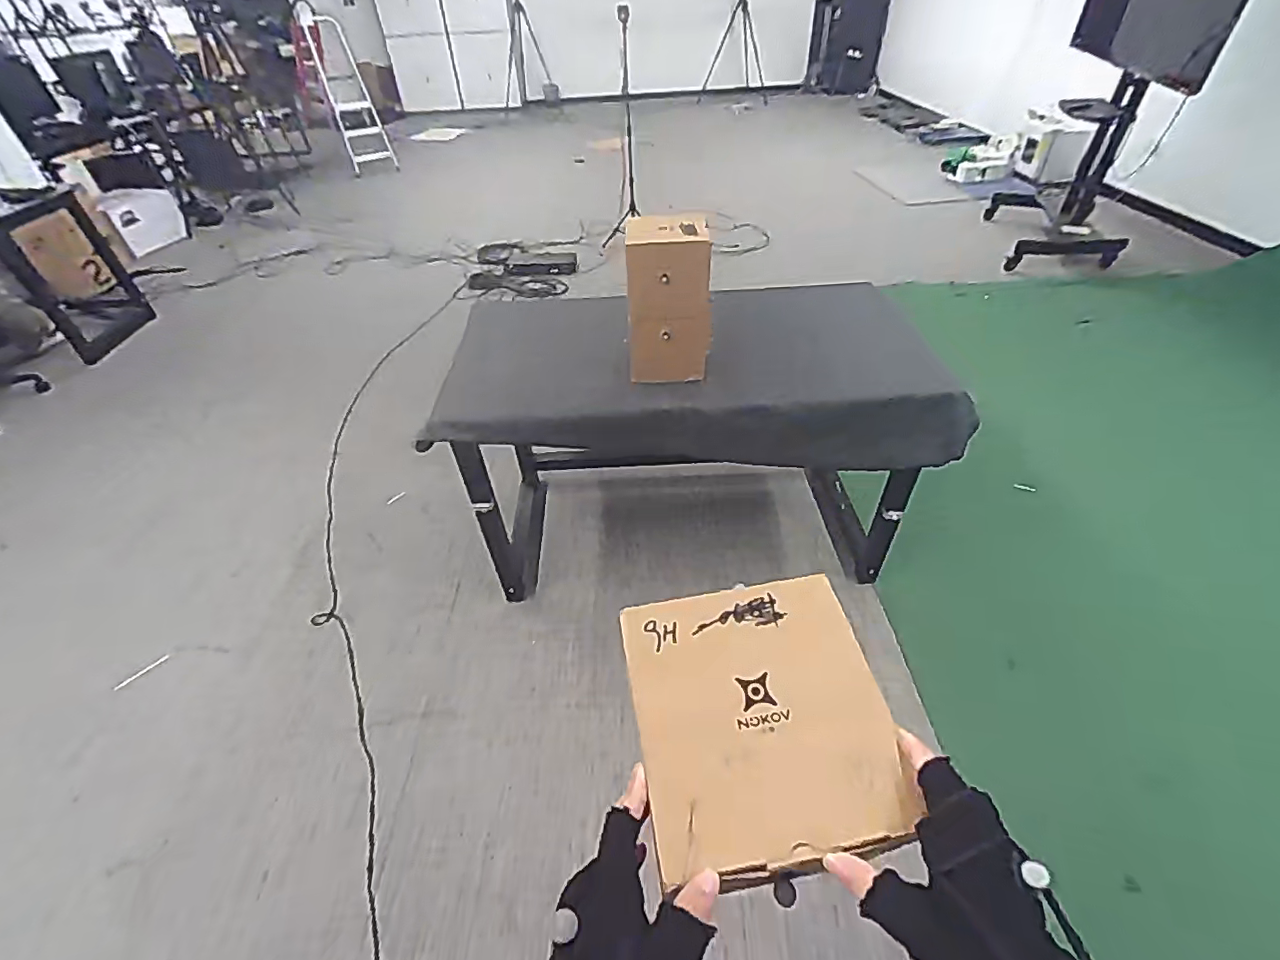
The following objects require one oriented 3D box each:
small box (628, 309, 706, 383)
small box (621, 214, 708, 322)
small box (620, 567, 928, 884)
[{"bbox_3d":[0.064,-0.347,1.302,0.179,0.176,0.168,-2,44,1],"label":"small box"},{"bbox_3d":[0.055,-0.463,1.186,0.179,0.176,0.168,-3,43,4],"label":"small box"},{"bbox_3d":[0.084,0.197,0.427,0.168,0.176,0.179,-10,52,-4],"label":"small box"}]
